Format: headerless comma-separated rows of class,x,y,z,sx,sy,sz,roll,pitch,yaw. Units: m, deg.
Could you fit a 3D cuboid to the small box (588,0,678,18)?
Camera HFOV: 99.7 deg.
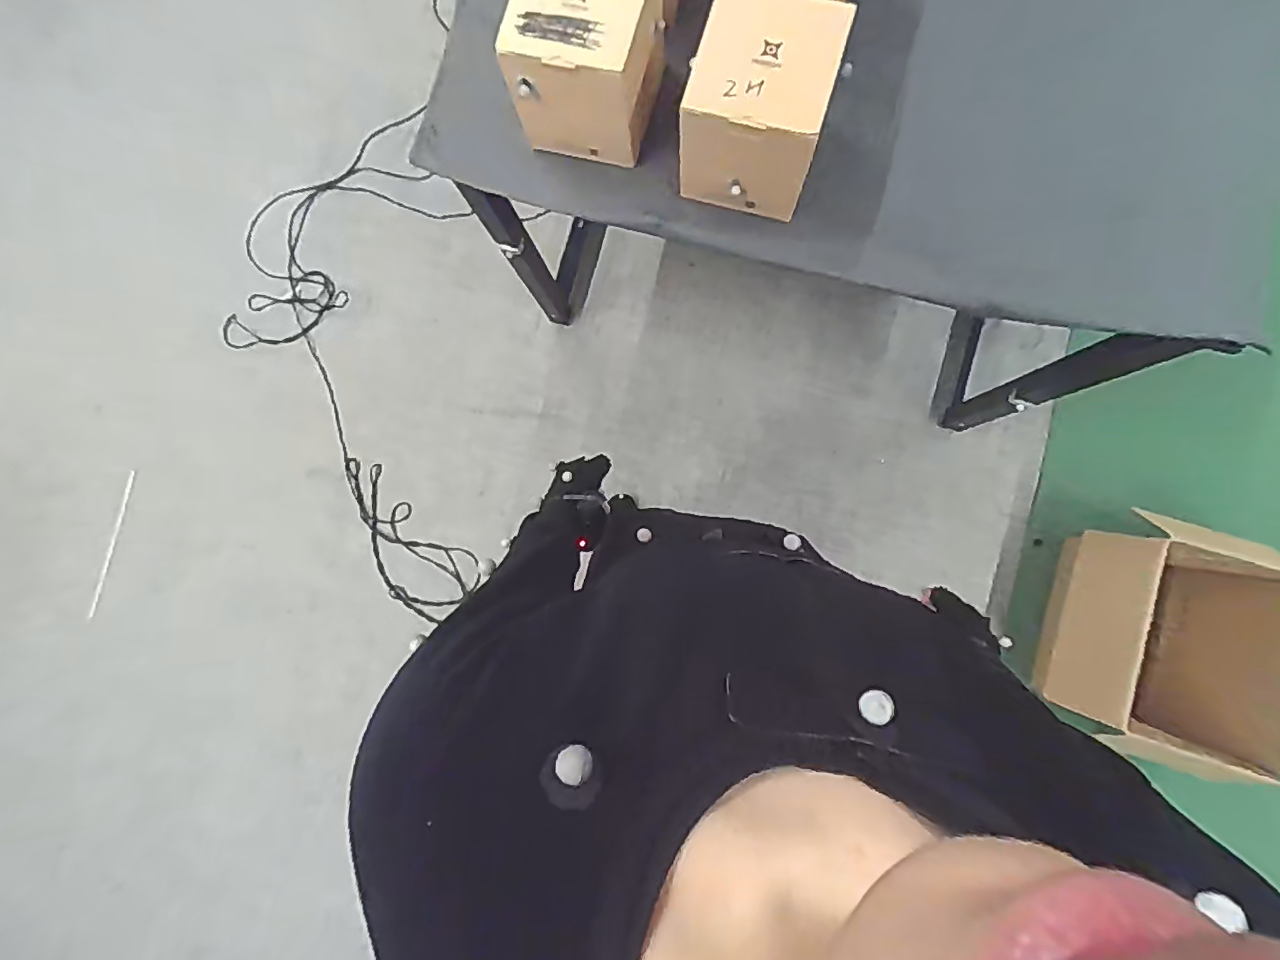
small box,-0.013,-0.801,0.751,0.168,0.176,0.179,15,86,6

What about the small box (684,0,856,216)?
small box,0.157,-0.488,0.710,0.168,0.176,0.179,17,86,6
